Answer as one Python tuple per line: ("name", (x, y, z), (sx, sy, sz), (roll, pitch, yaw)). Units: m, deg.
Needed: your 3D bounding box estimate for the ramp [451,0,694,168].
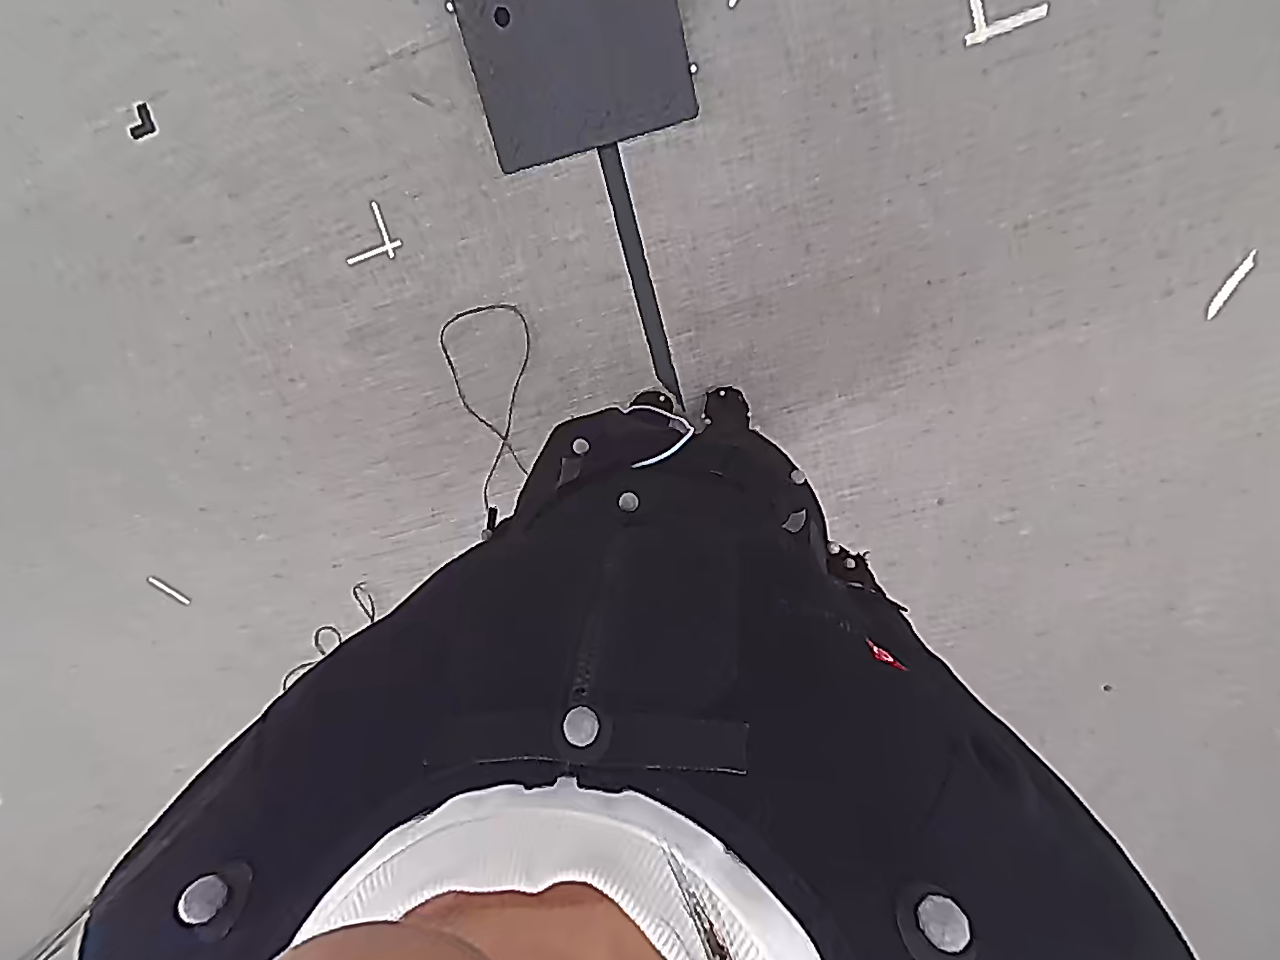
("ramp", (-0.222, -1.263, 1.123), (0.509, 0.206, 0.991), (-14, 100, 6))
